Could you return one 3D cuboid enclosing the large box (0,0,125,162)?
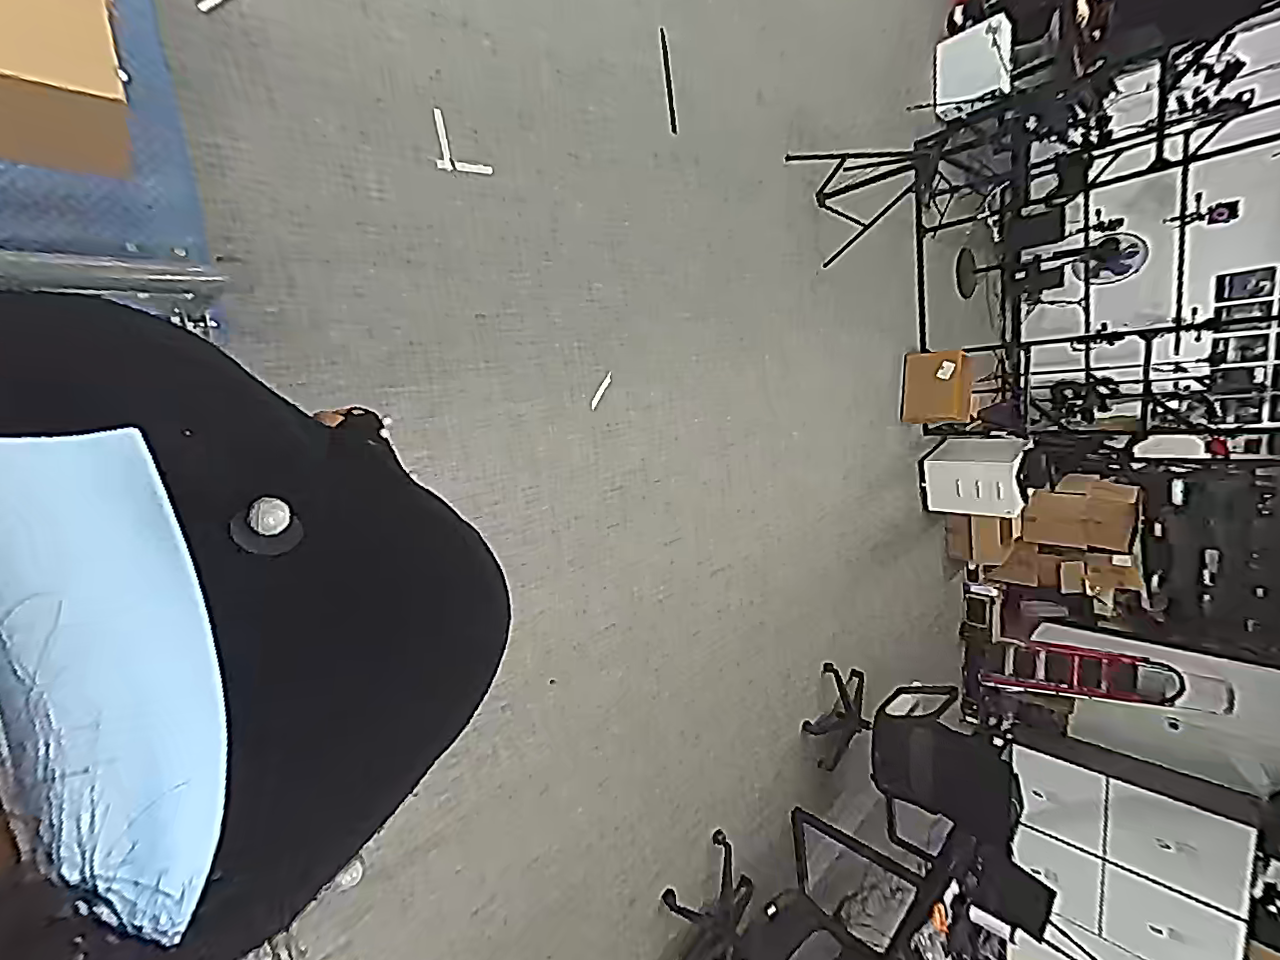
[{"bbox_3d":[-0.980,-0.666,0.703,0.408,0.320,0.320,-13,101,-41],"label":"large box"}]
